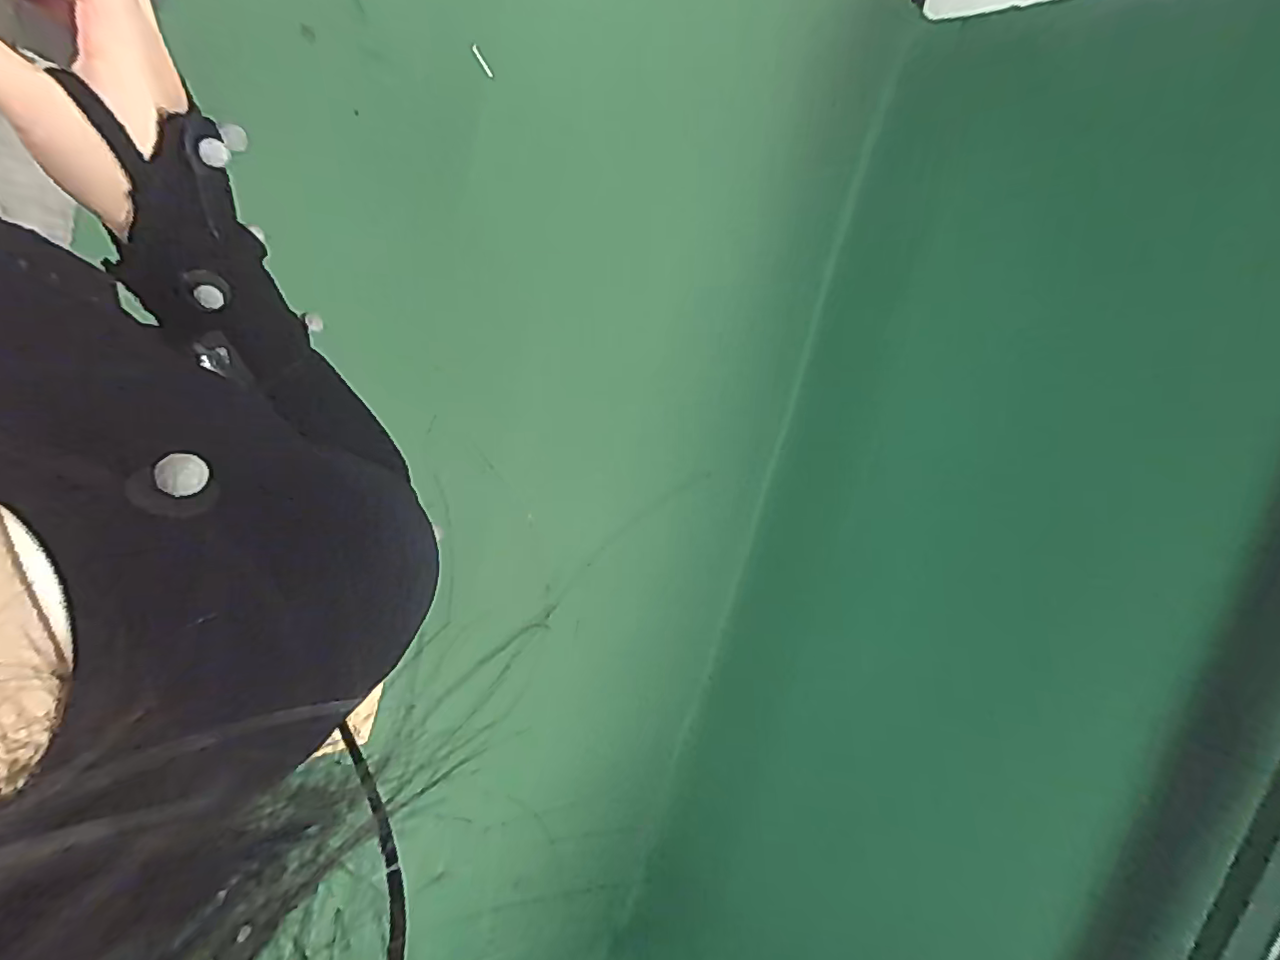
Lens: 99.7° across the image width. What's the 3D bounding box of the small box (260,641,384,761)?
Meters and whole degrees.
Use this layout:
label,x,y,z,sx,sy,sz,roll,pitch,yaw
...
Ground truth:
label,x,y,z,sx,sy,sz,roll,pitch,yaw
small box,-0.693,0.465,1.175,0.168,0.176,0.179,12,97,-53
